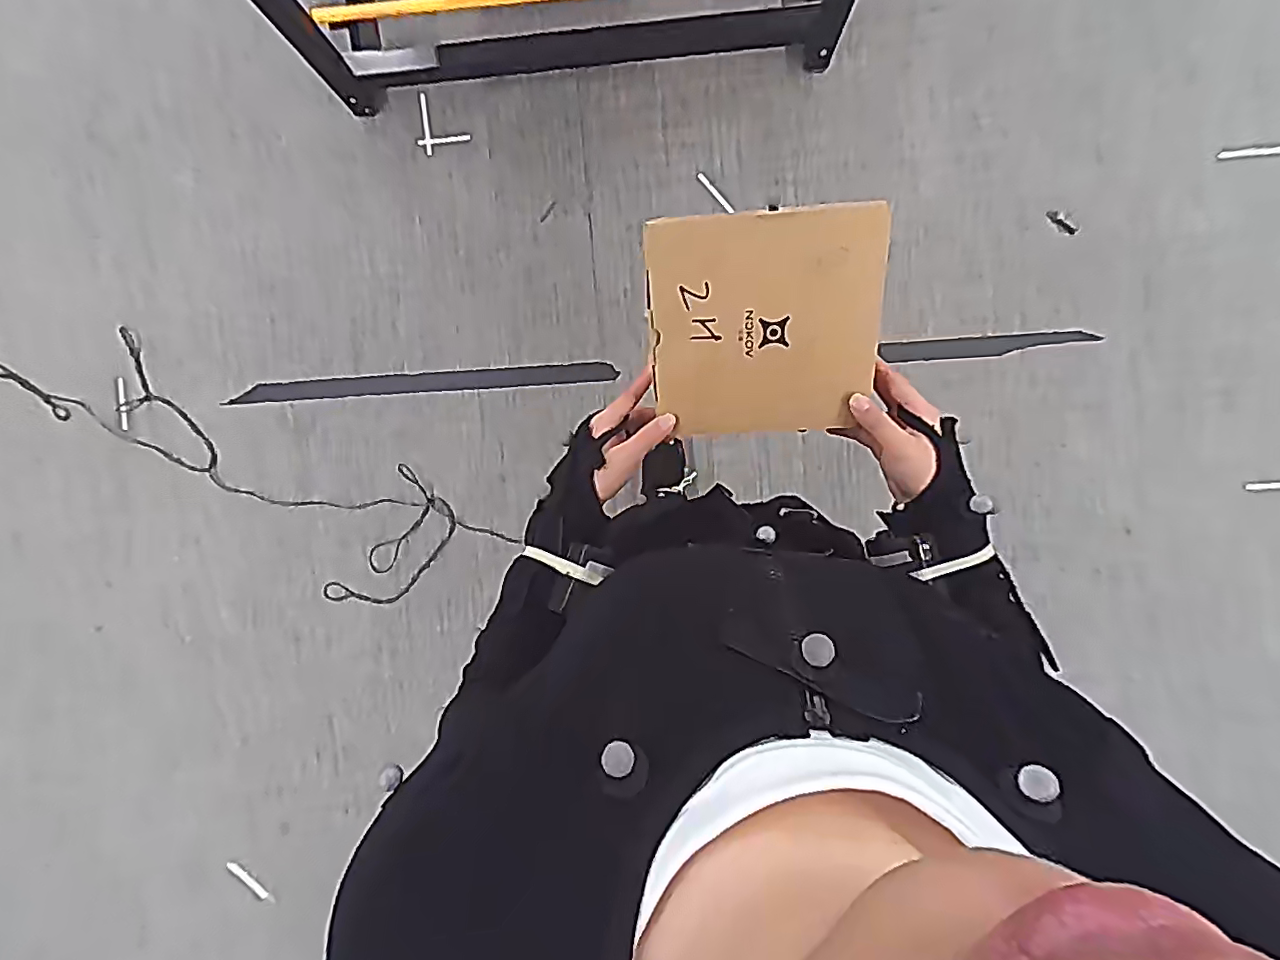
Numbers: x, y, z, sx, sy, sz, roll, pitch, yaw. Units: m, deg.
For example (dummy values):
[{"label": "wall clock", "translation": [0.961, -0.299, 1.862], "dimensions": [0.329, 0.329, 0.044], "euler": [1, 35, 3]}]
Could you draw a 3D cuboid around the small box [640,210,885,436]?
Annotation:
[{"label": "small box", "translation": [0.097, -0.148, 0.490], "dimensions": [0.179, 0.176, 0.168], "euler": [-2, 115, 7]}]
